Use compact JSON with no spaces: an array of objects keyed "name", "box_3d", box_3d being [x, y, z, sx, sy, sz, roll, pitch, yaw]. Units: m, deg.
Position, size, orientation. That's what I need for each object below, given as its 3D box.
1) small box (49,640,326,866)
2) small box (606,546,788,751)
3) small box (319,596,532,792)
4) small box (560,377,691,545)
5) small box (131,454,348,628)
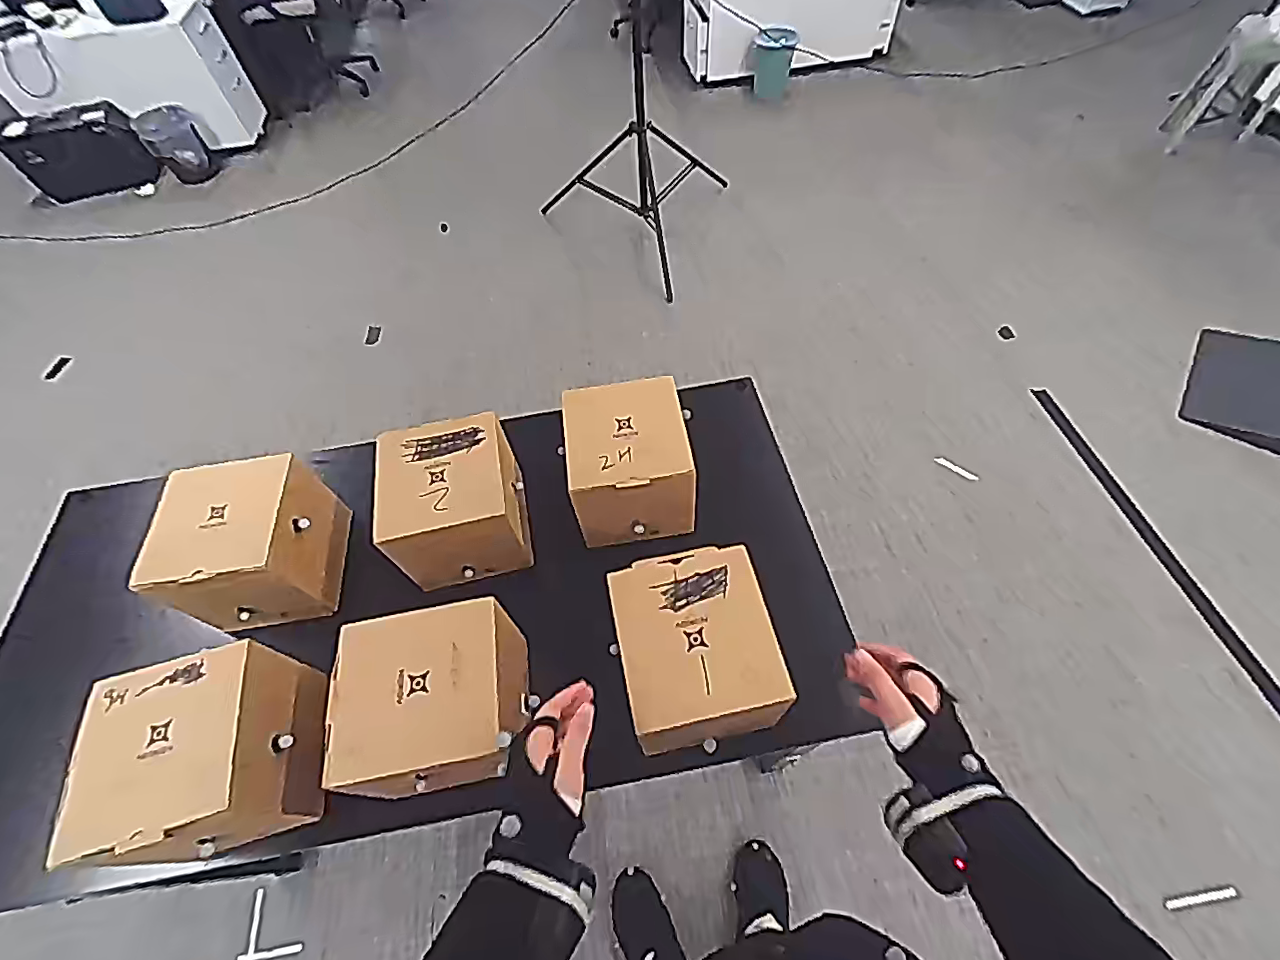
[{"name":"small box","box_3d":[-0.488,0.310,0.619,0.168,0.176,0.179,-15,57,-6]},{"name":"small box","box_3d":[0.059,0.205,0.648,0.168,0.176,0.179,-12,57,-3]},{"name":"small box","box_3d":[-0.236,0.258,0.638,0.179,0.176,0.168,-10,57,-3]},{"name":"small box","box_3d":[-0.021,-0.025,0.805,0.168,0.176,0.179,-9,57,-1]},{"name":"small box","box_3d":[-0.544,0.090,0.768,0.168,0.176,0.179,-9,57,-2]}]
